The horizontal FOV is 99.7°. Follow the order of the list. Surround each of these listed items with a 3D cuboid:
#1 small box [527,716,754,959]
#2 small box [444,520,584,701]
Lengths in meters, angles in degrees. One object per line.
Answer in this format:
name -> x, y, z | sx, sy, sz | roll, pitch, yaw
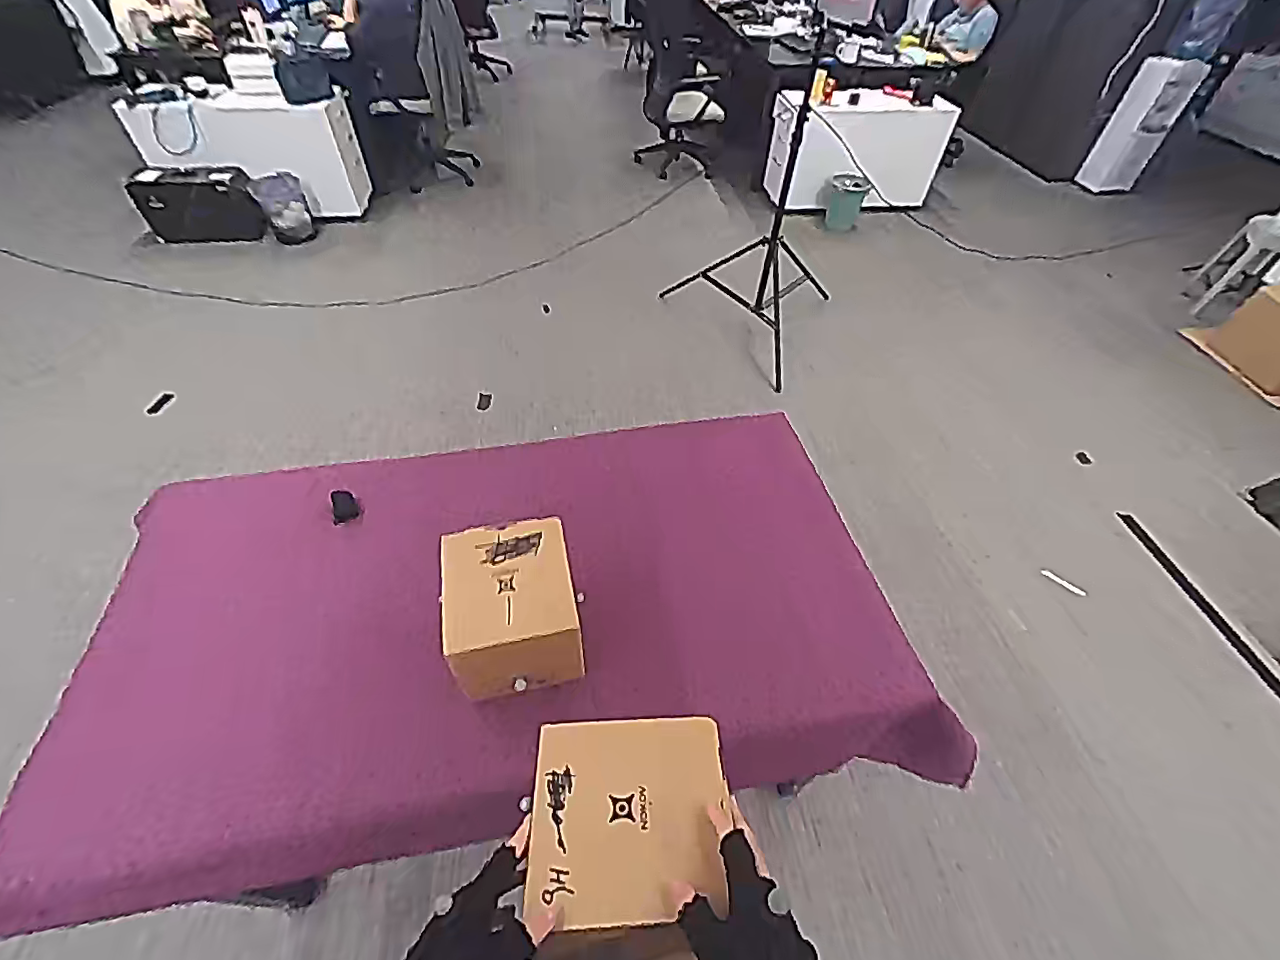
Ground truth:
small box -> -0.005, 0.349, 0.519 | 0.179, 0.176, 0.168 | 0, 35, -3
small box -> -0.175, 0.184, 0.764 | 0.168, 0.176, 0.179 | -9, 50, -10
